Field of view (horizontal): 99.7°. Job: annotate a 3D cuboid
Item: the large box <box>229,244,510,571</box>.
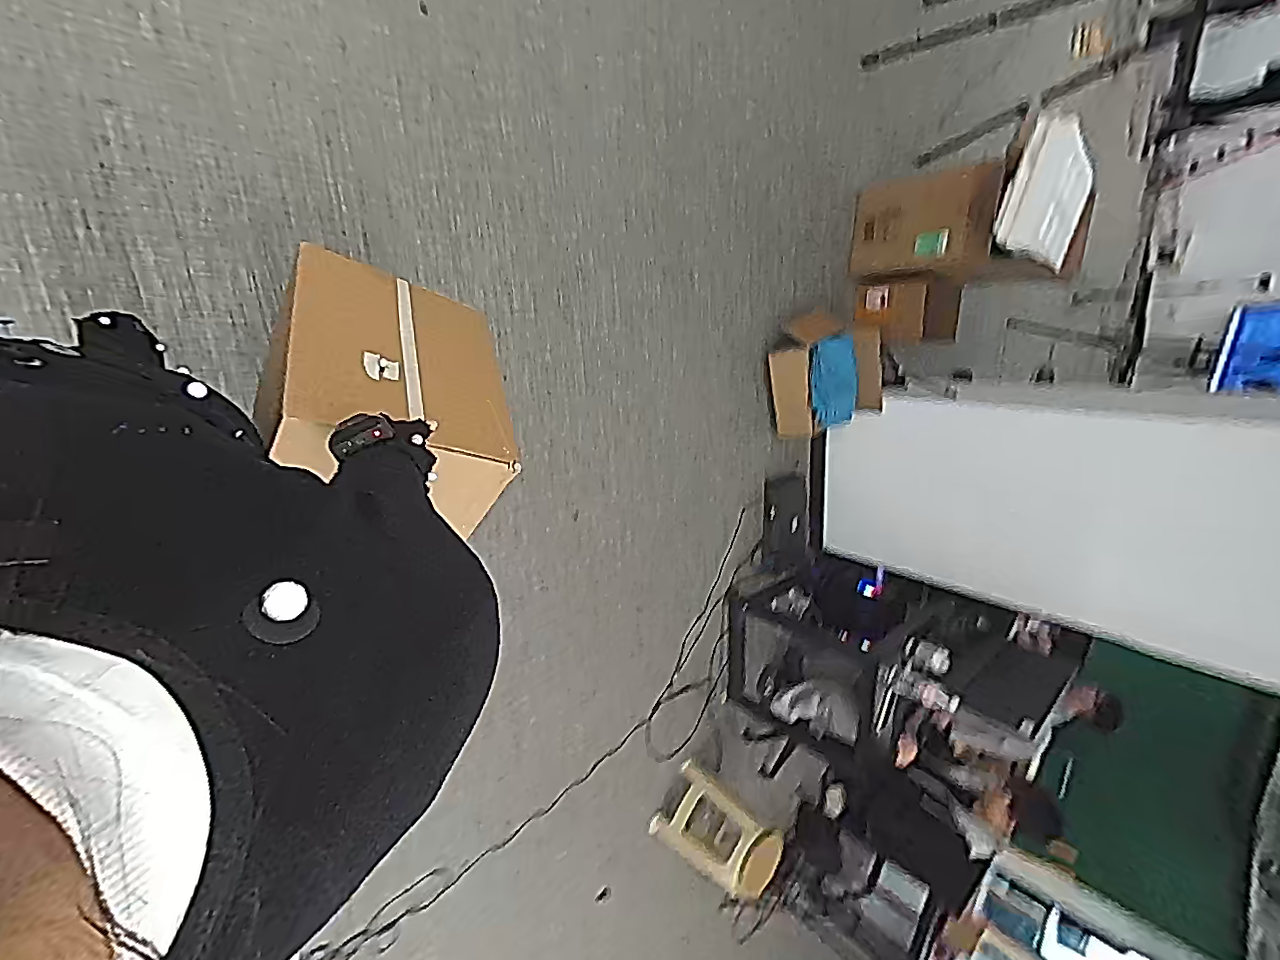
[{"bbox_3d":[-0.459,-0.103,0.911,0.320,0.408,0.320,12,134,-38],"label":"large box"}]
